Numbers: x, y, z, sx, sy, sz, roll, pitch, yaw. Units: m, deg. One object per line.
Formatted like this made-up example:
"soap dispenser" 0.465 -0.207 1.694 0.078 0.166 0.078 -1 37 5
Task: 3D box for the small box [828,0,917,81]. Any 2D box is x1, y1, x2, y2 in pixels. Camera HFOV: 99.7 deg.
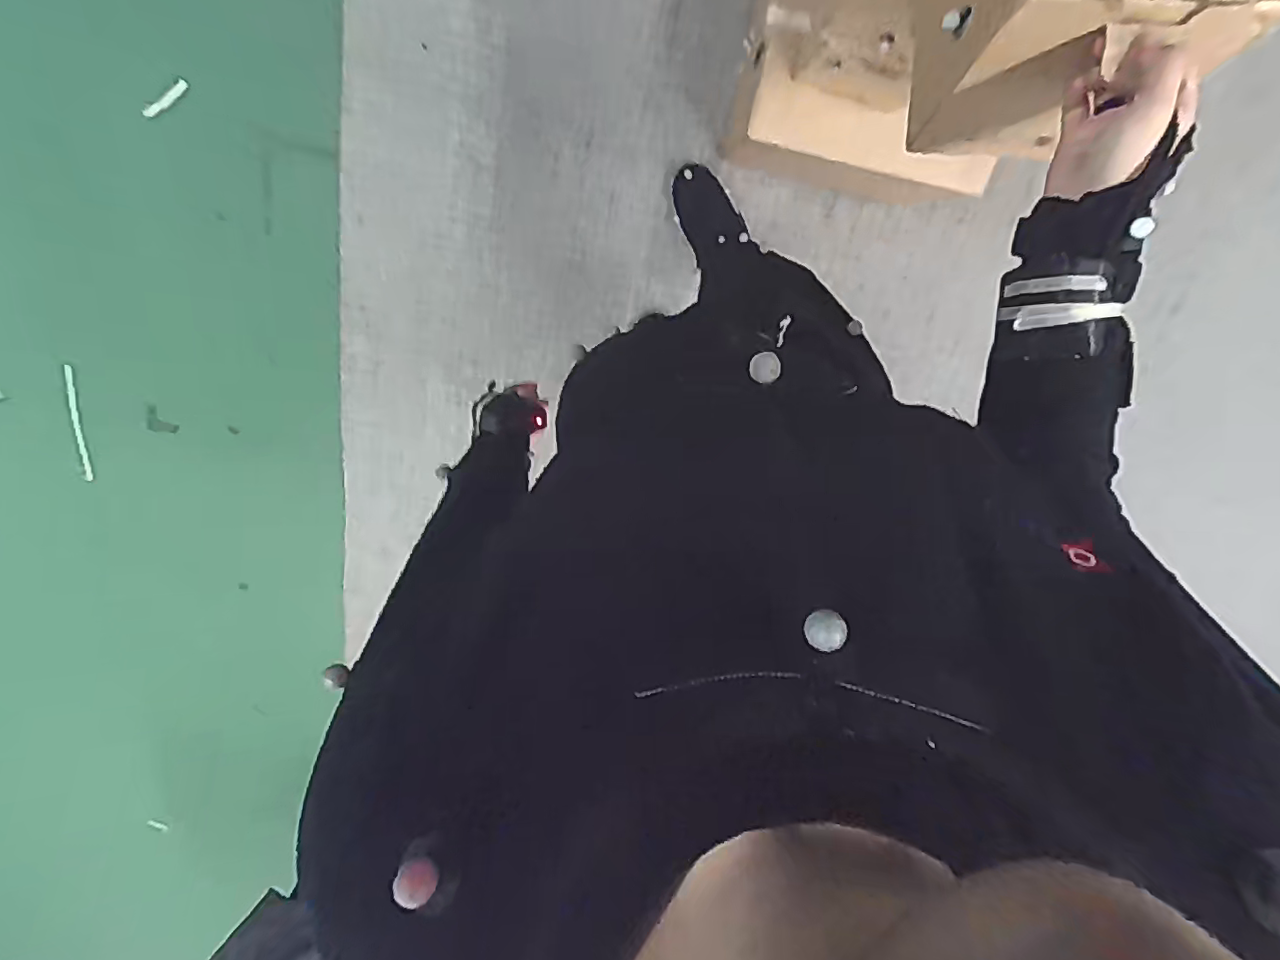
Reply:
"small box" 0.320 -0.553 0.558 0.168 0.176 0.179 16 113 -7

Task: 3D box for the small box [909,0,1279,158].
"small box" 0.320 -0.370 0.399 0.168 0.176 0.179 4 90 2

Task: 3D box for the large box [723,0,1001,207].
"large box" 0.392 -0.691 0.942 0.408 0.320 0.320 10 114 -5
